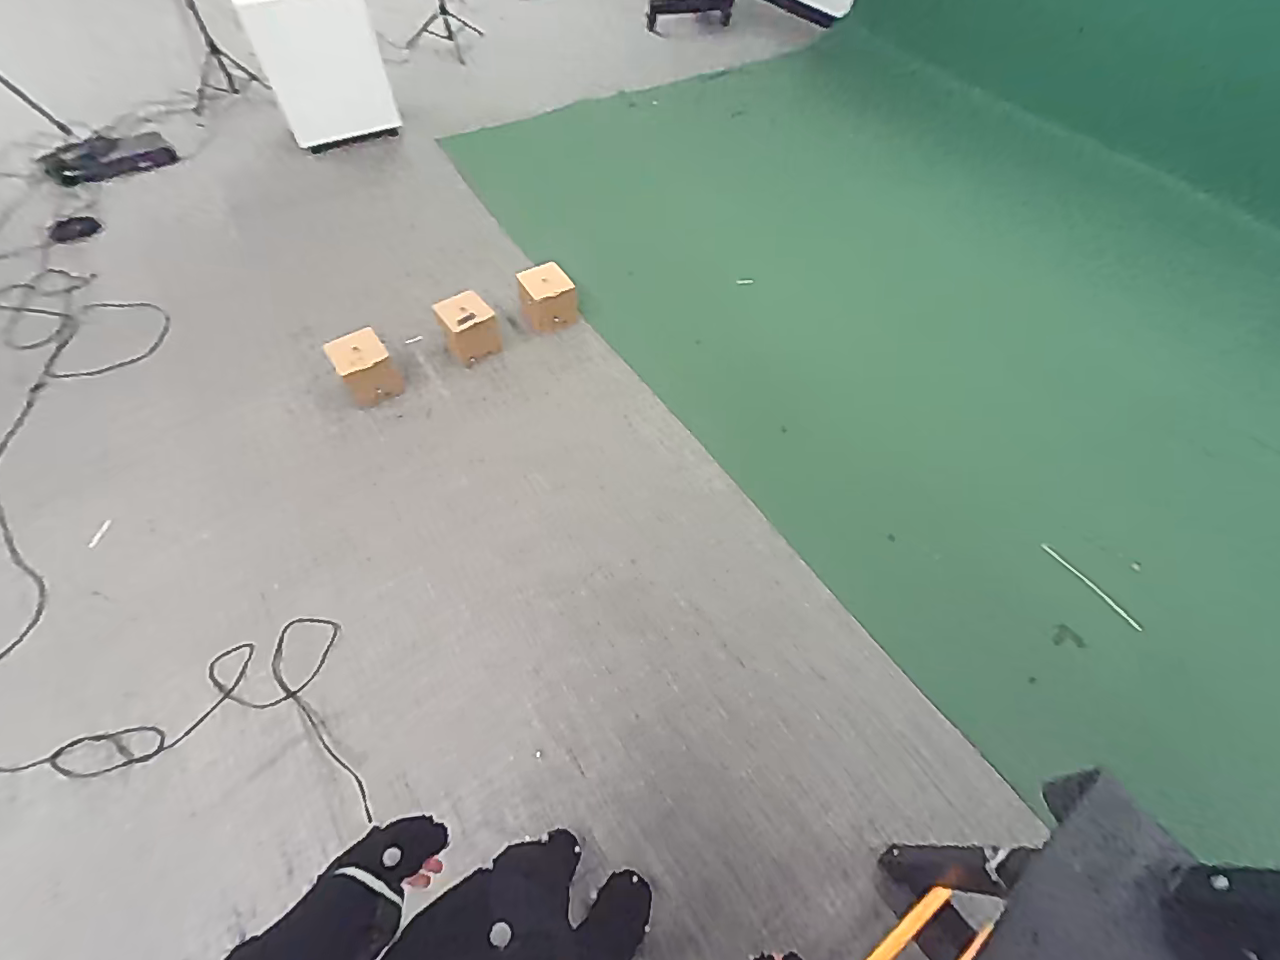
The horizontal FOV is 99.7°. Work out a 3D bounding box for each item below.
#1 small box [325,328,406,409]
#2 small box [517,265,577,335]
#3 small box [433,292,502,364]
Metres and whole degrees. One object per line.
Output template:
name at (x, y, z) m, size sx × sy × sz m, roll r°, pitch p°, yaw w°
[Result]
small box at (-0.932, -0.378, 1.846) m, size 0.168 × 0.176 × 0.179 m, roll -31°, pitch 64°, yaw -20°
small box at (-0.357, -0.693, 2.088) m, size 0.168 × 0.176 × 0.179 m, roll -28°, pitch 63°, yaw -19°
small box at (-0.624, -0.547, 1.977) m, size 0.168 × 0.176 × 0.179 m, roll -33°, pitch 63°, yaw -22°
